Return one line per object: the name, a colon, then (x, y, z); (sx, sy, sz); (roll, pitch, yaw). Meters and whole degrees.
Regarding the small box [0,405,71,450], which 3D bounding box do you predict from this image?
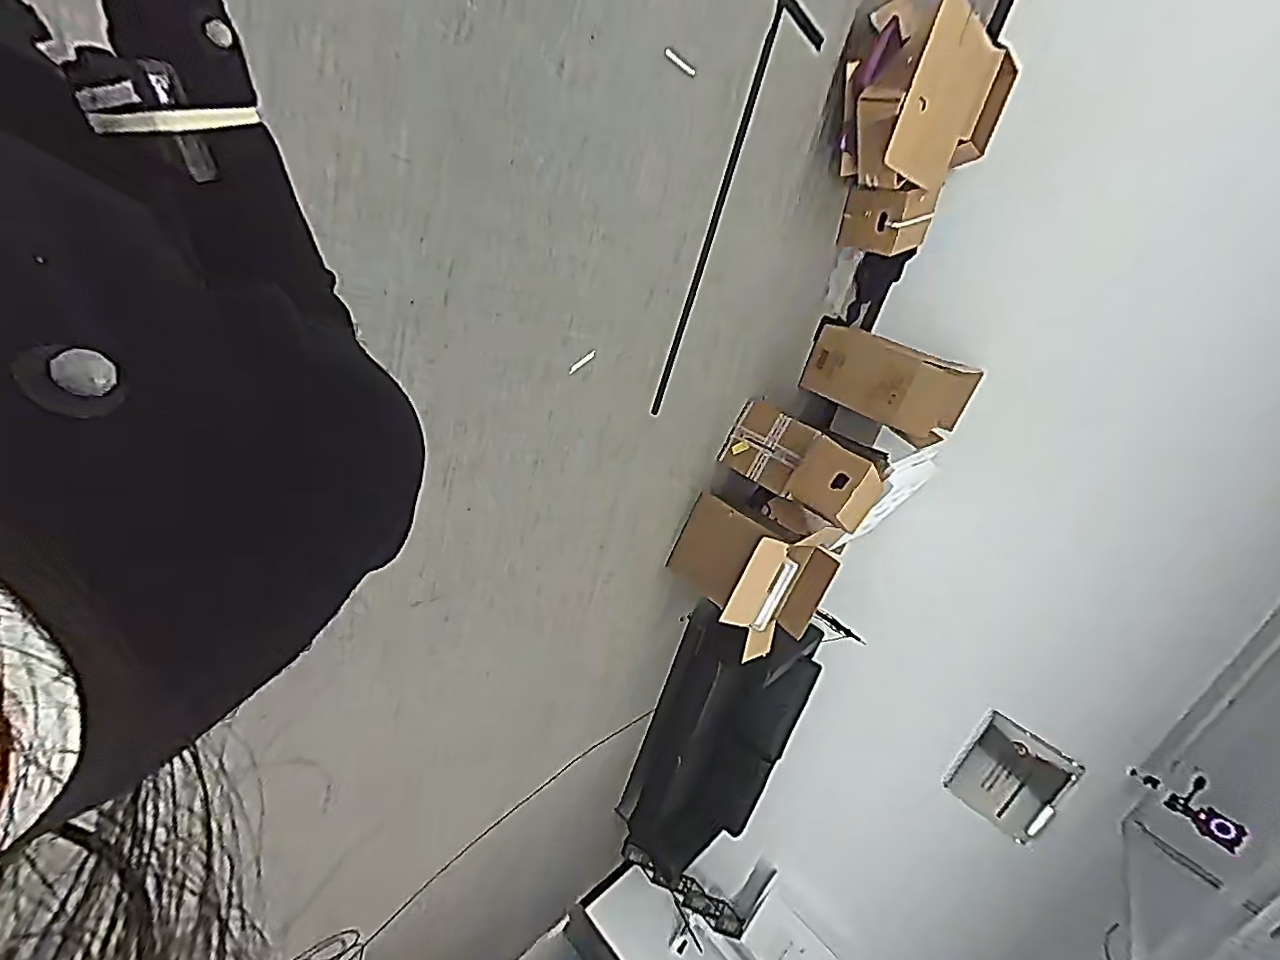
small box: (-1.200, -0.038, 1.009); (0.179, 0.176, 0.168); (-2, 117, -52)
